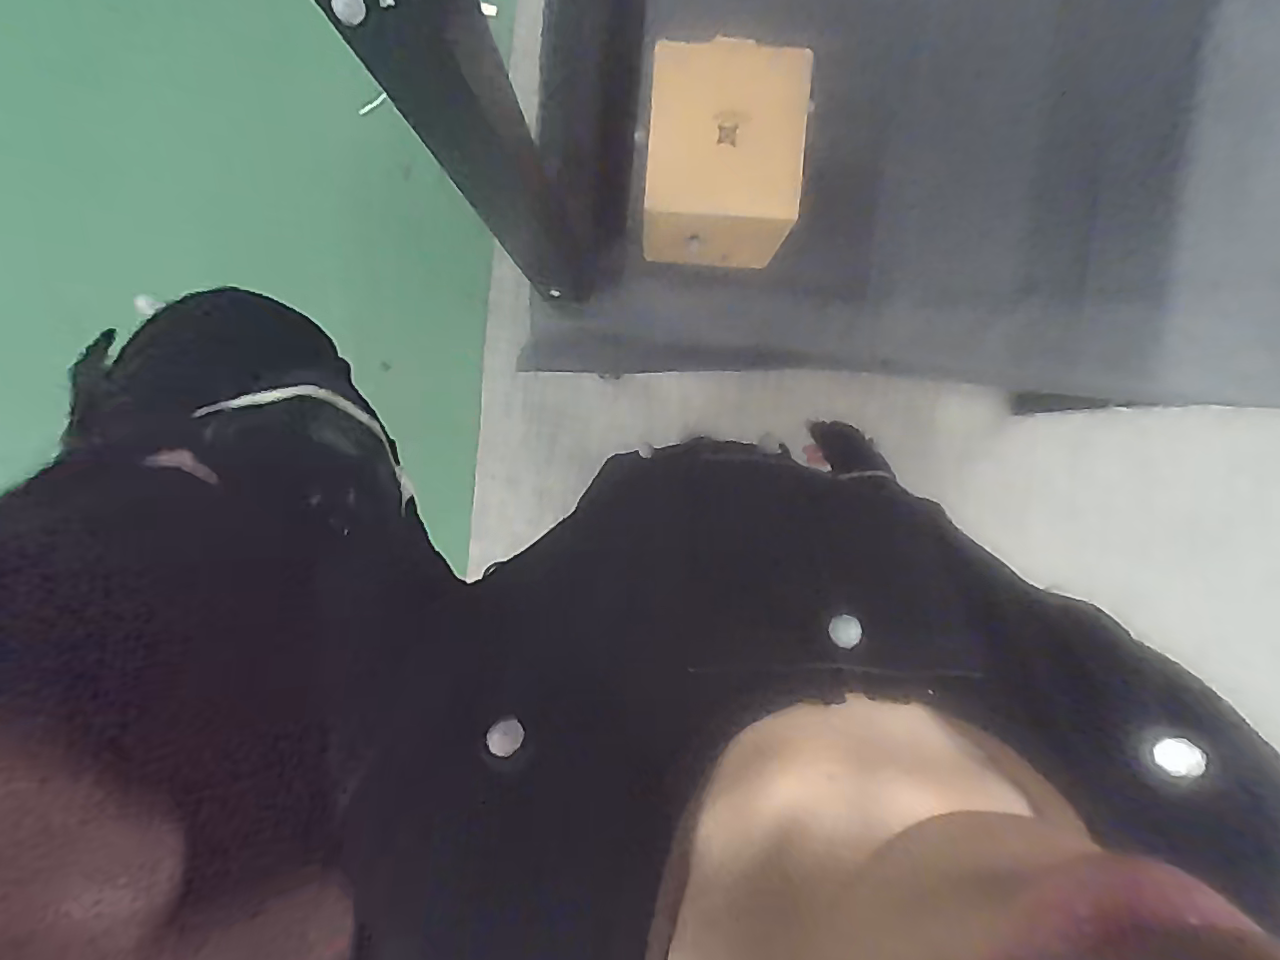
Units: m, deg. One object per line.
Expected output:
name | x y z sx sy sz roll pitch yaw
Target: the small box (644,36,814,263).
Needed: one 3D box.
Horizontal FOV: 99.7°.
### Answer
small box | 0.095 -0.372 0.641 0.168 0.176 0.179 4 93 1
